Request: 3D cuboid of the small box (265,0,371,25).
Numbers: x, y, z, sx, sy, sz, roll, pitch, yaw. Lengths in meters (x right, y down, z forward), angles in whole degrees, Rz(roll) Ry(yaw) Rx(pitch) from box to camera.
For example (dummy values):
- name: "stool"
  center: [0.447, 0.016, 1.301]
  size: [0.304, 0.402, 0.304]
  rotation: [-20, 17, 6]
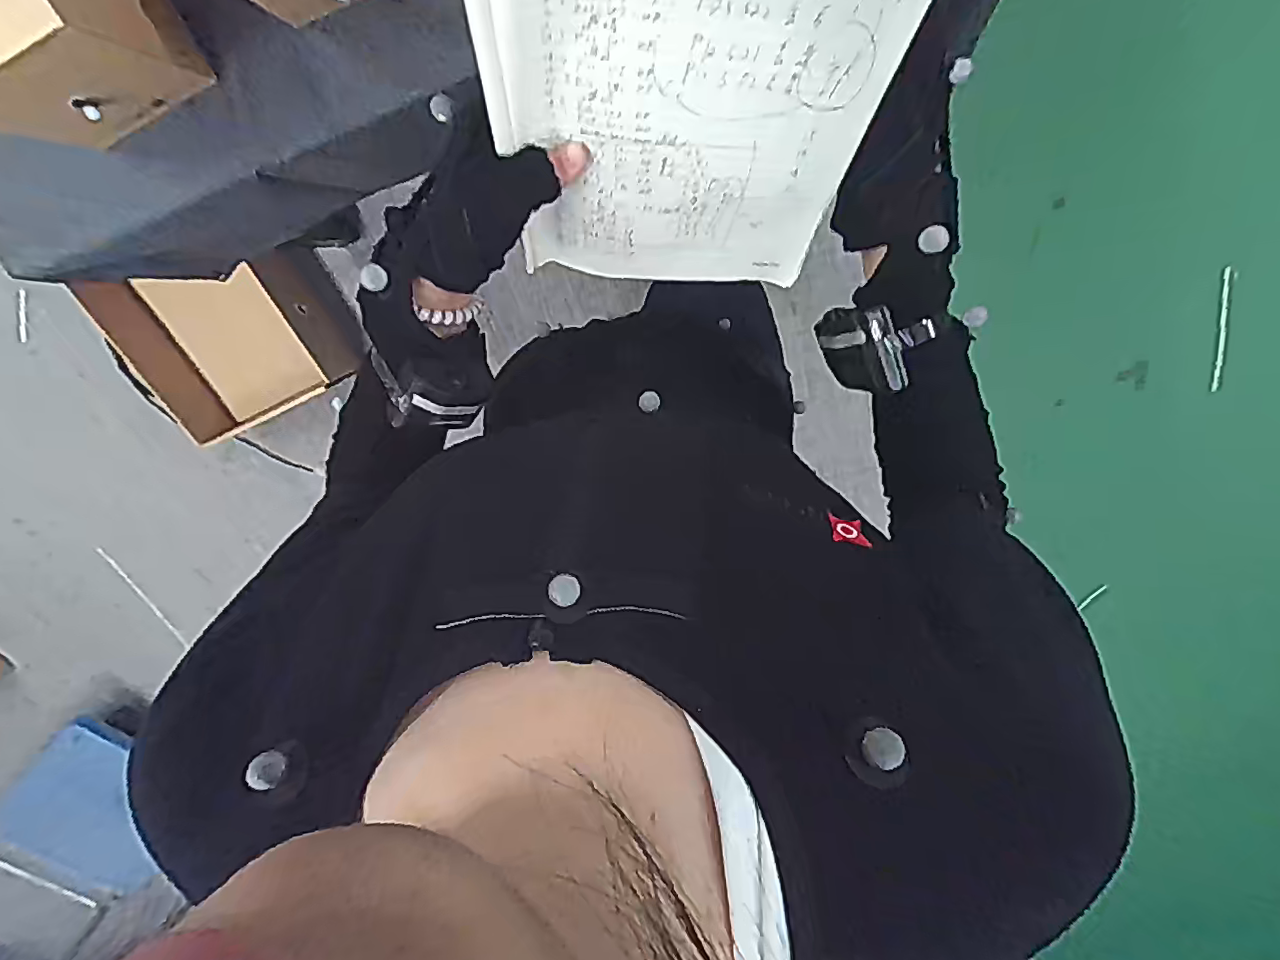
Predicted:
- name: "small box"
  center: [-0.294, -0.517, 0.427]
  size: [0.168, 0.176, 0.179]
  rotation: [-15, 113, 8]

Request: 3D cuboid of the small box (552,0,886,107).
- name: "small box"
  center: [0.036, -0.339, 0.324]
  size: [0.179, 0.176, 0.168]
  rotation: [-7, 121, 8]
